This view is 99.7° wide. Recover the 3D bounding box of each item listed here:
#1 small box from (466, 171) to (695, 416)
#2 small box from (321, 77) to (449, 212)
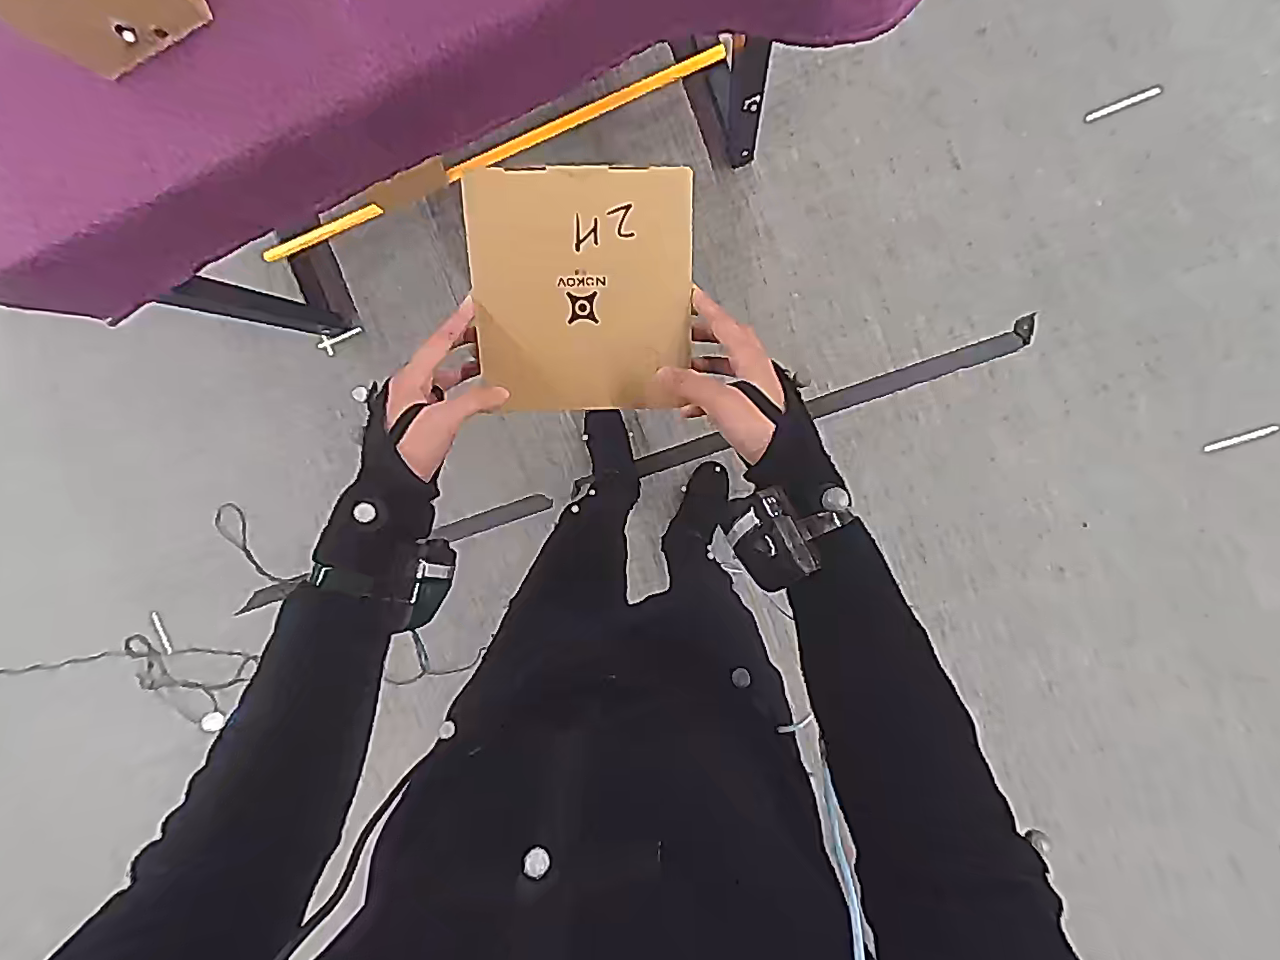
[{"bbox_3d":[-0.044,-0.160,0.483,0.168,0.176,0.179,-2,107,-2],"label":"small box"},{"bbox_3d":[-0.553,-0.734,1.205,0.179,0.176,0.168,-21,94,9],"label":"small box"}]
